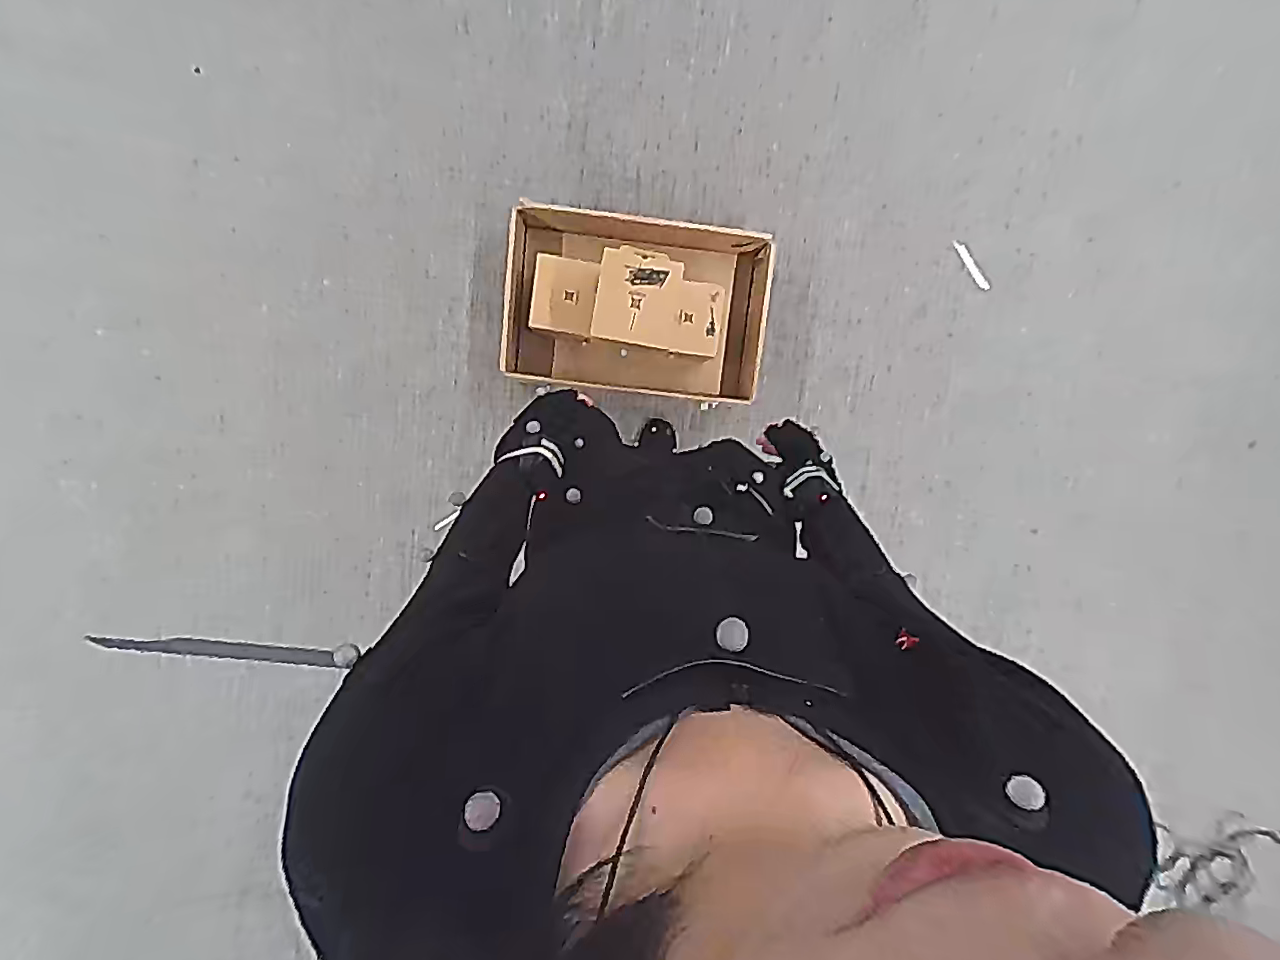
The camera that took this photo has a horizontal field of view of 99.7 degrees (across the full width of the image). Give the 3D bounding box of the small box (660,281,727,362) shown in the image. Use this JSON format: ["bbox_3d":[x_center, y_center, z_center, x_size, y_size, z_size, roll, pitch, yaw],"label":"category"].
[{"bbox_3d":[0.107,-0.388,1.336,0.179,0.176,0.168,6,98,-2],"label":"small box"}]

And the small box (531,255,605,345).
[{"bbox_3d":[-0.156,-0.428,1.314,0.179,0.176,0.168,8,97,-4],"label":"small box"}]

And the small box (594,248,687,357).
[{"bbox_3d":[-0.005,-0.372,1.165,0.168,0.176,0.179,10,98,-4],"label":"small box"}]
